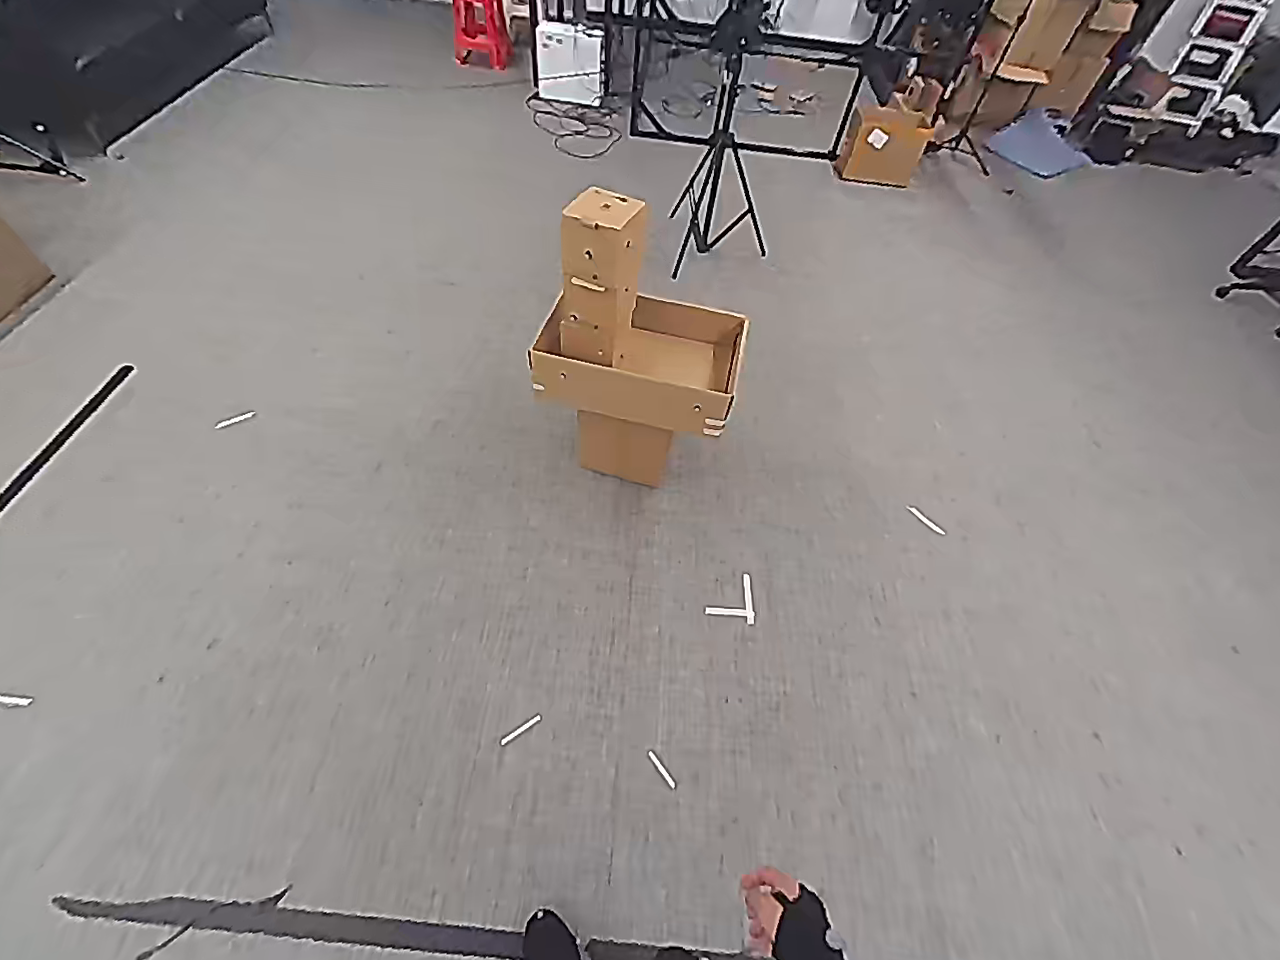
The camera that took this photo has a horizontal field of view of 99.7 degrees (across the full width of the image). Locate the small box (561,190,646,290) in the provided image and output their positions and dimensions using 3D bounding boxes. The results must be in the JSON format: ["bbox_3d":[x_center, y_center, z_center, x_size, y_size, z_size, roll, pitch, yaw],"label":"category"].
[{"bbox_3d":[-0.095,-0.643,1.453,0.168,0.176,0.179,23,54,11],"label":"small box"}]

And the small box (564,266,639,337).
[{"bbox_3d":[-0.109,-0.548,1.587,0.168,0.176,0.179,19,53,9],"label":"small box"}]
